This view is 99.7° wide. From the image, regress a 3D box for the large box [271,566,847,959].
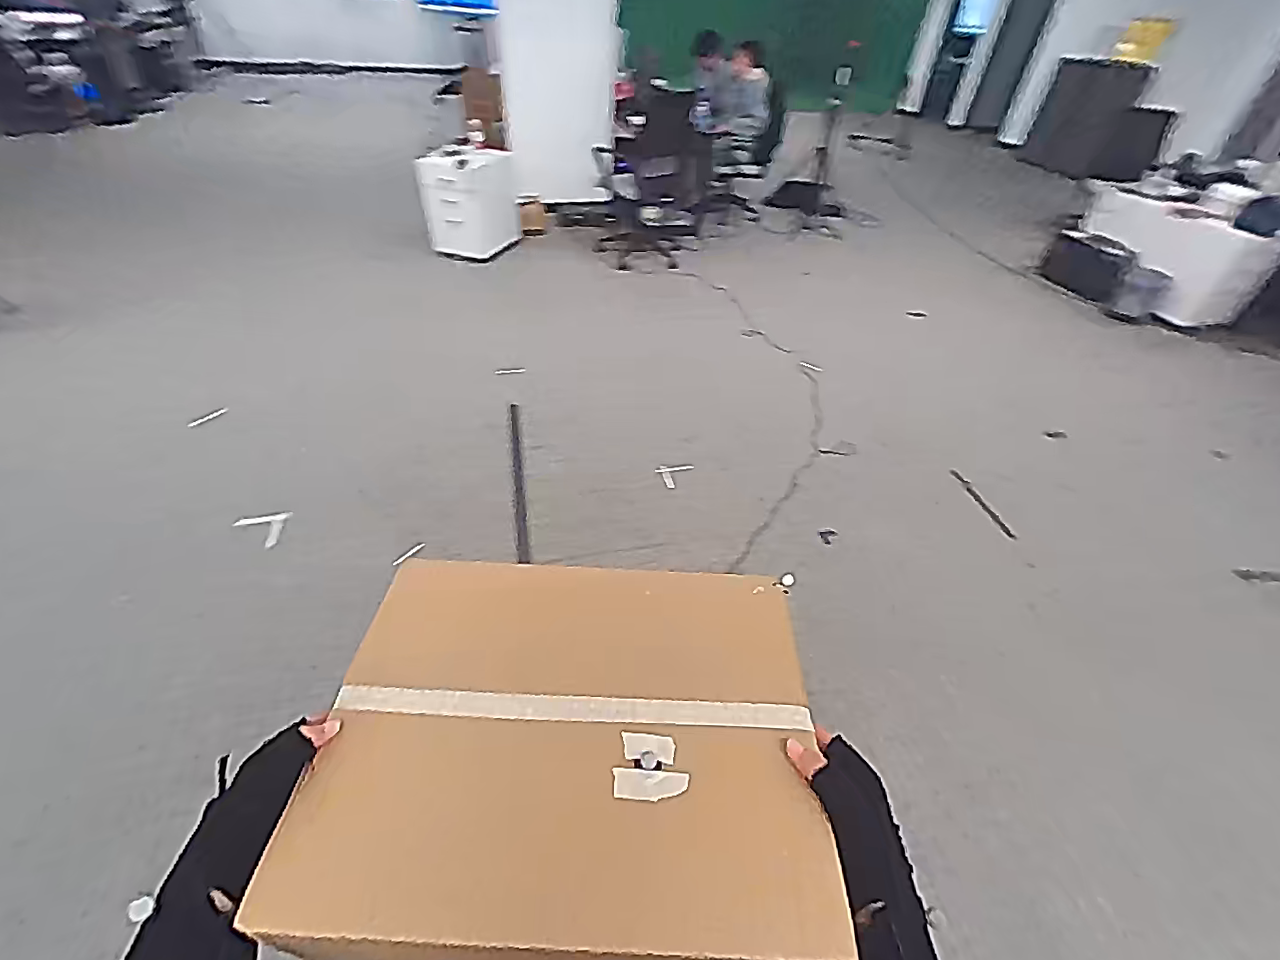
[{"bbox_3d":[-0.057,0.316,0.574,0.408,0.320,0.320,3,42,1],"label":"large box"}]
